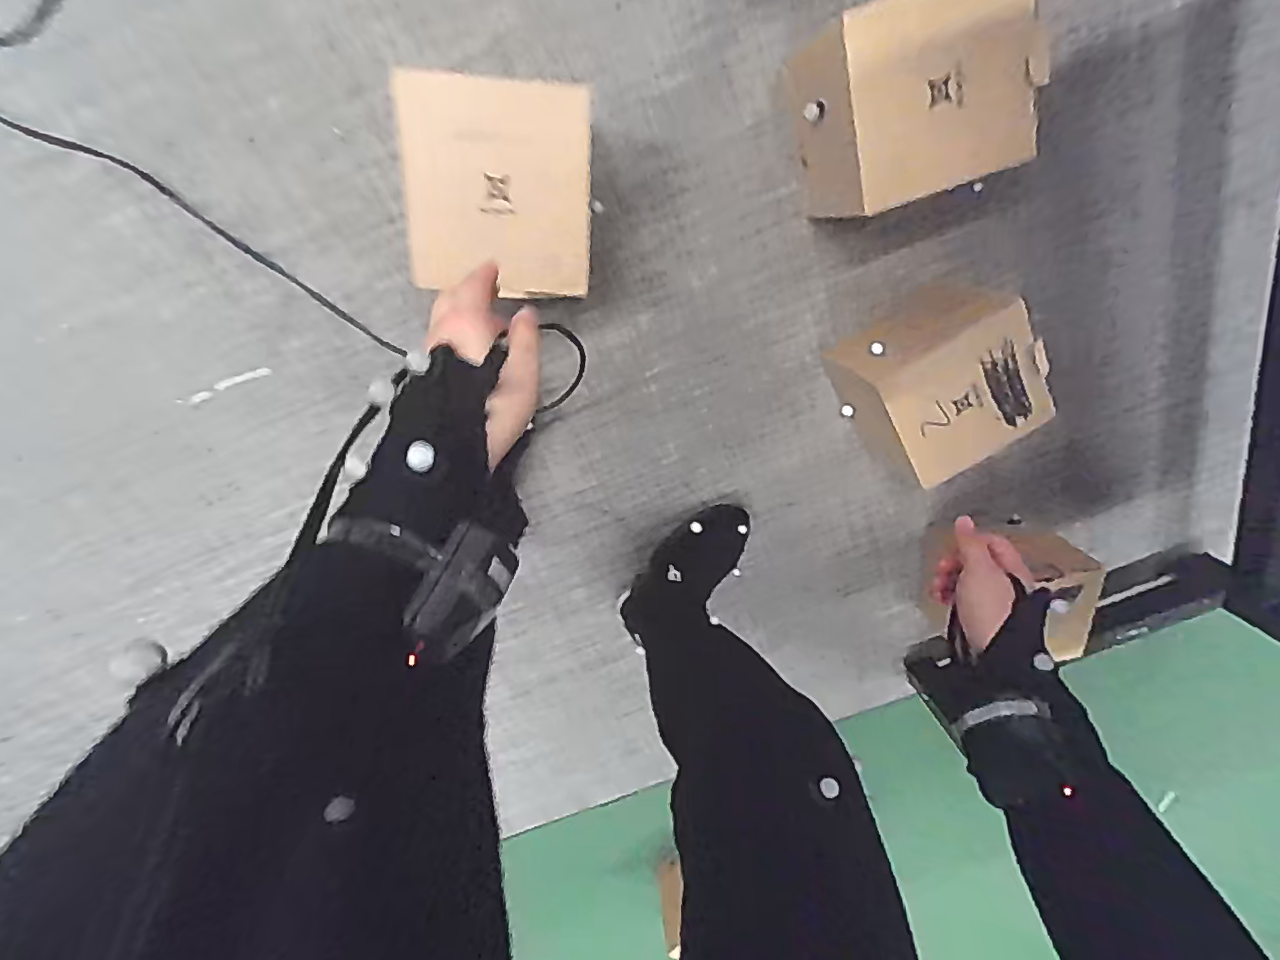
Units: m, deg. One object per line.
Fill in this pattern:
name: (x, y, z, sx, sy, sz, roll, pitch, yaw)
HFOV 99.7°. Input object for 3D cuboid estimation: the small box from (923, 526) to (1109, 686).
small box: (0.576, 0.188, 0.857, 0.168, 0.176, 0.179, -10, 117, -1)

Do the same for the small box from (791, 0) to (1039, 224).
small box: (0.272, -0.380, 0.567, 0.179, 0.176, 0.168, -19, 115, 2)

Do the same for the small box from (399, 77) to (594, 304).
small box: (-0.134, -0.288, 0.565, 0.168, 0.176, 0.179, 0, 114, -7)
